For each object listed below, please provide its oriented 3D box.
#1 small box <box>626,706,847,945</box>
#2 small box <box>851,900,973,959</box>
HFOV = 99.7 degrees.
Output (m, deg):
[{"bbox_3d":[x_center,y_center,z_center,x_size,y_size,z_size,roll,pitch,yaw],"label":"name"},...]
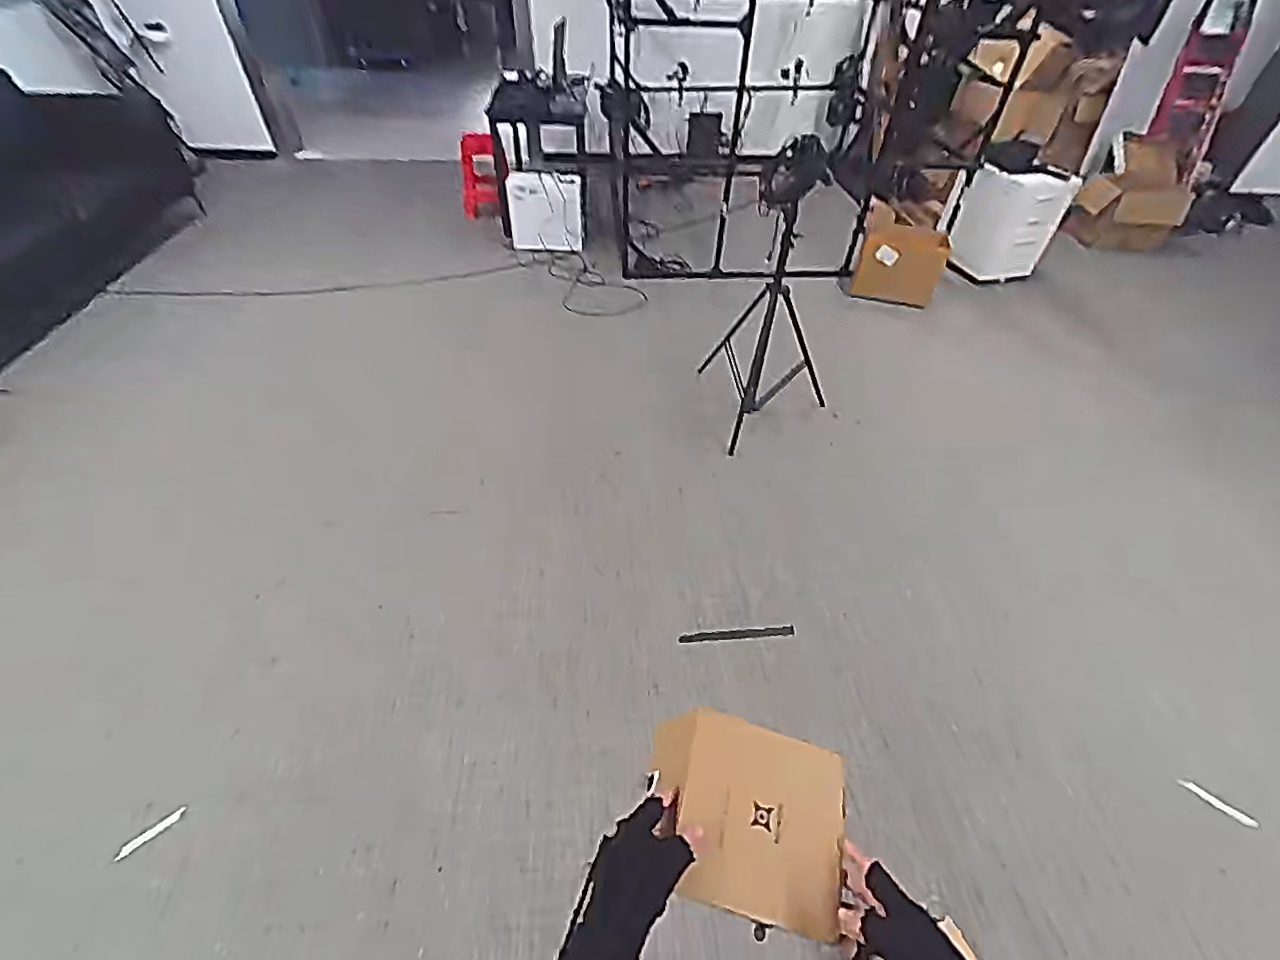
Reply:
[{"bbox_3d":[0.102,0.374,0.599,0.179,0.176,0.168,21,54,-4],"label":"small box"},{"bbox_3d":[0.543,0.977,1.069,0.179,0.176,0.168,-15,48,-17],"label":"small box"}]
